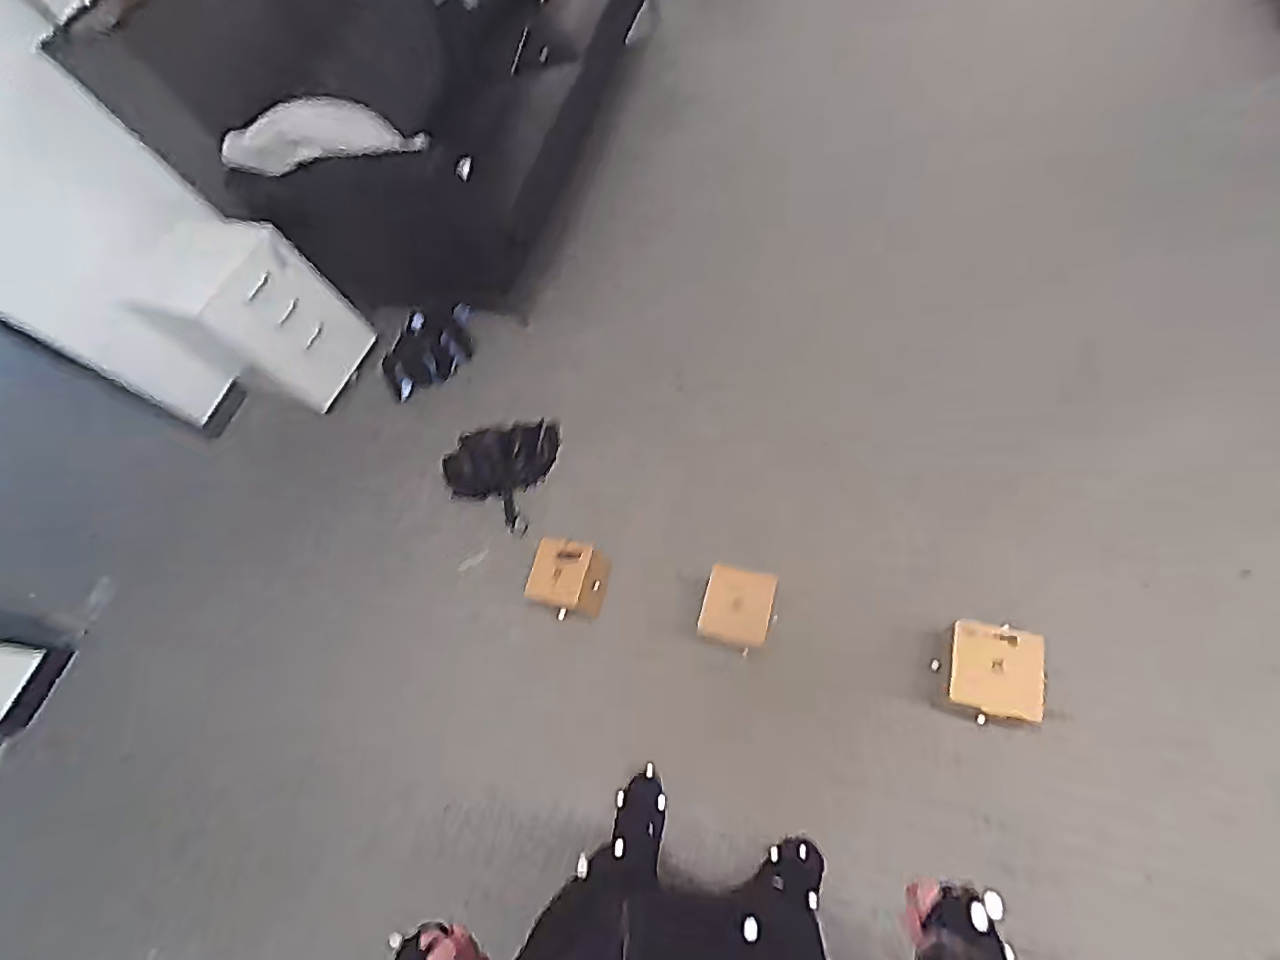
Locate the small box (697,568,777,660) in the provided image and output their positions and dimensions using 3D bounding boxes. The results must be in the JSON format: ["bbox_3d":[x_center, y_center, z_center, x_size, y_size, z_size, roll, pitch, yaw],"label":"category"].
[{"bbox_3d":[0.257,0.351,1.396,0.168,0.176,0.179,9,65,20],"label":"small box"}]

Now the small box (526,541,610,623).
[{"bbox_3d":[-0.198,0.297,1.557,0.168,0.176,0.179,6,66,20],"label":"small box"}]

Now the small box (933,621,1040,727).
[{"bbox_3d":[0.760,0.433,1.198,0.168,0.176,0.179,9,67,21],"label":"small box"}]
